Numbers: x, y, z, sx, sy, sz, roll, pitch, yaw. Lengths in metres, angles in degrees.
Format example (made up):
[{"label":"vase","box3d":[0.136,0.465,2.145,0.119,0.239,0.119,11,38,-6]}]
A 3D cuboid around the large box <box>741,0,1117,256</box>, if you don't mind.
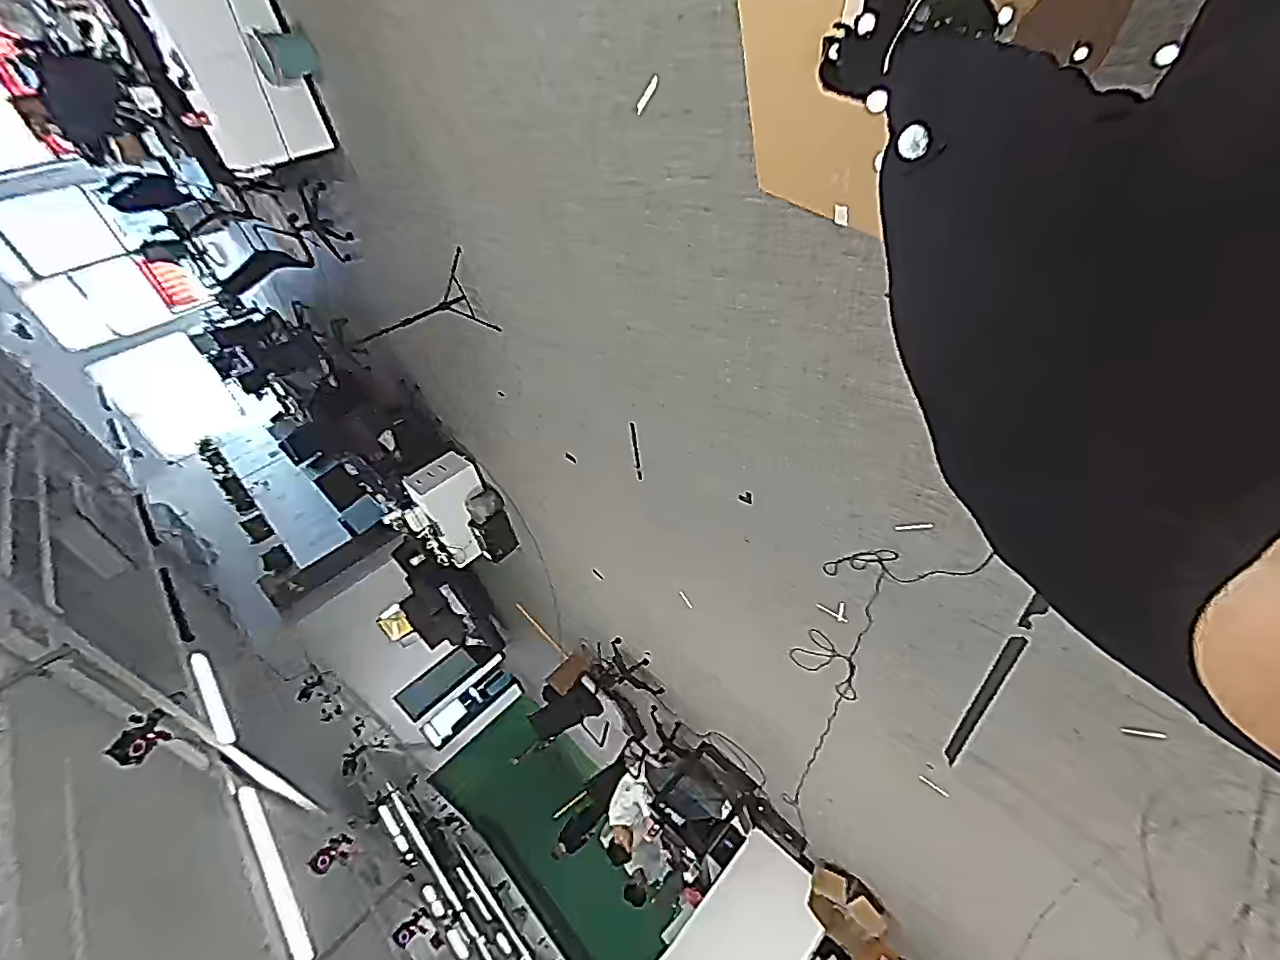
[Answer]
[{"label":"large box","box3d":[0.388,-0.593,0.704,0.320,0.408,0.320,38,178,25]}]
